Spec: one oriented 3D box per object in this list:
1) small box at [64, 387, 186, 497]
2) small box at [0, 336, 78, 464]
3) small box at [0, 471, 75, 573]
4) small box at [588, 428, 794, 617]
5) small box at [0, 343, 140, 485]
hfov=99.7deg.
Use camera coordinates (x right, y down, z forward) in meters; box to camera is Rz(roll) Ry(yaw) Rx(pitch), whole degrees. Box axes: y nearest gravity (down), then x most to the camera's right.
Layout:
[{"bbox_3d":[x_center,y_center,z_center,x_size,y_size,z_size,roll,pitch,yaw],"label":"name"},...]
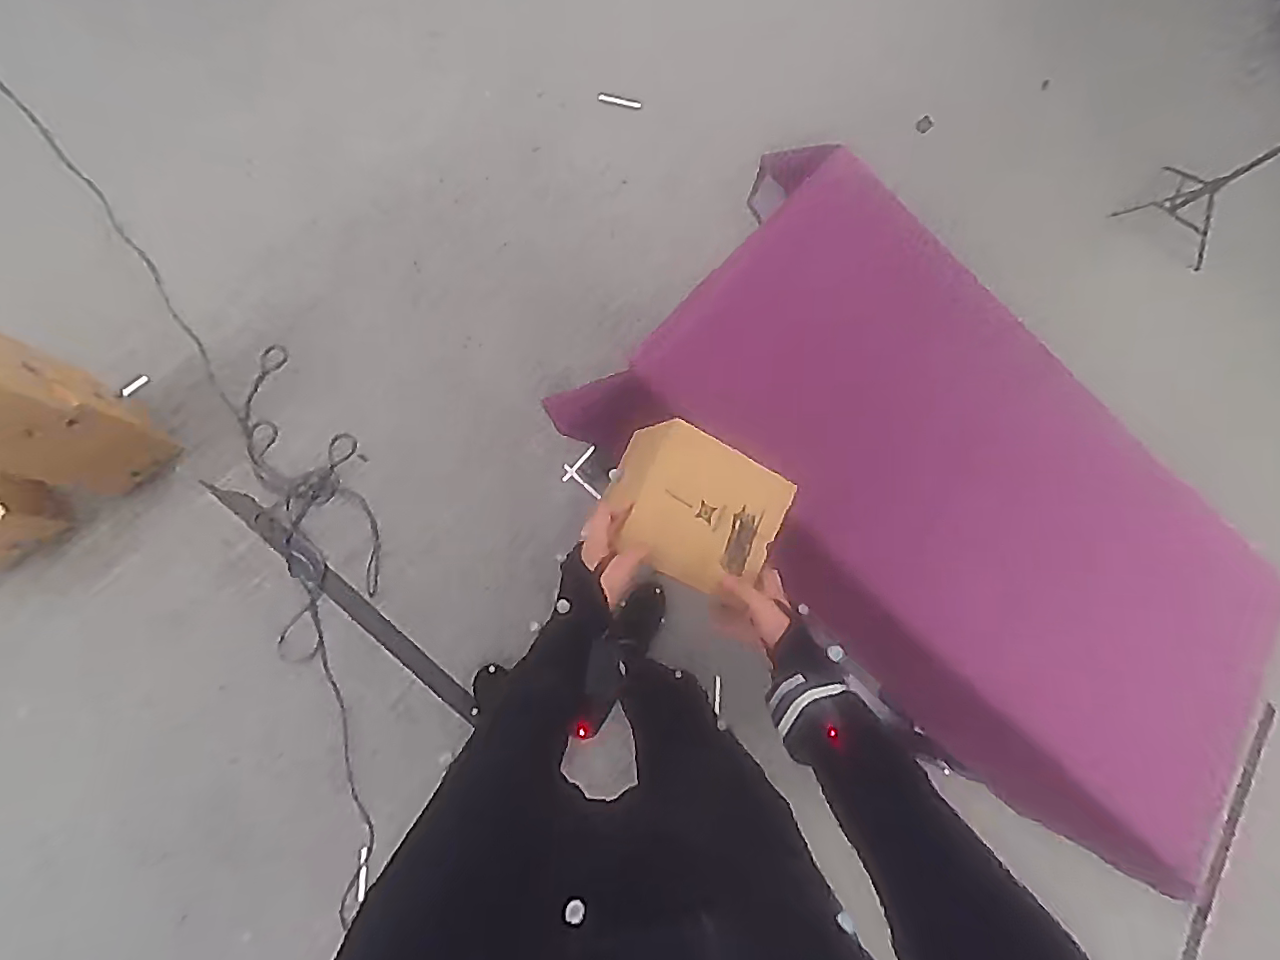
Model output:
[{"bbox_3d":[-1.149,-0.082,1.158,0.179,0.176,0.168,44,73,-3],"label":"small box"},{"bbox_3d":[-1.070,-0.139,0.847,0.168,0.176,0.179,-38,89,-17],"label":"small box"},{"bbox_3d":[-1.323,0.074,1.081,0.168,0.176,0.179,-42,92,-17],"label":"small box"},{"bbox_3d":[0.056,0.051,0.693,0.179,0.176,0.168,28,80,-14],"label":"small box"},{"bbox_3d":[-1.109,-0.112,1.004,0.168,0.176,0.179,45,73,-2],"label":"small box"}]
